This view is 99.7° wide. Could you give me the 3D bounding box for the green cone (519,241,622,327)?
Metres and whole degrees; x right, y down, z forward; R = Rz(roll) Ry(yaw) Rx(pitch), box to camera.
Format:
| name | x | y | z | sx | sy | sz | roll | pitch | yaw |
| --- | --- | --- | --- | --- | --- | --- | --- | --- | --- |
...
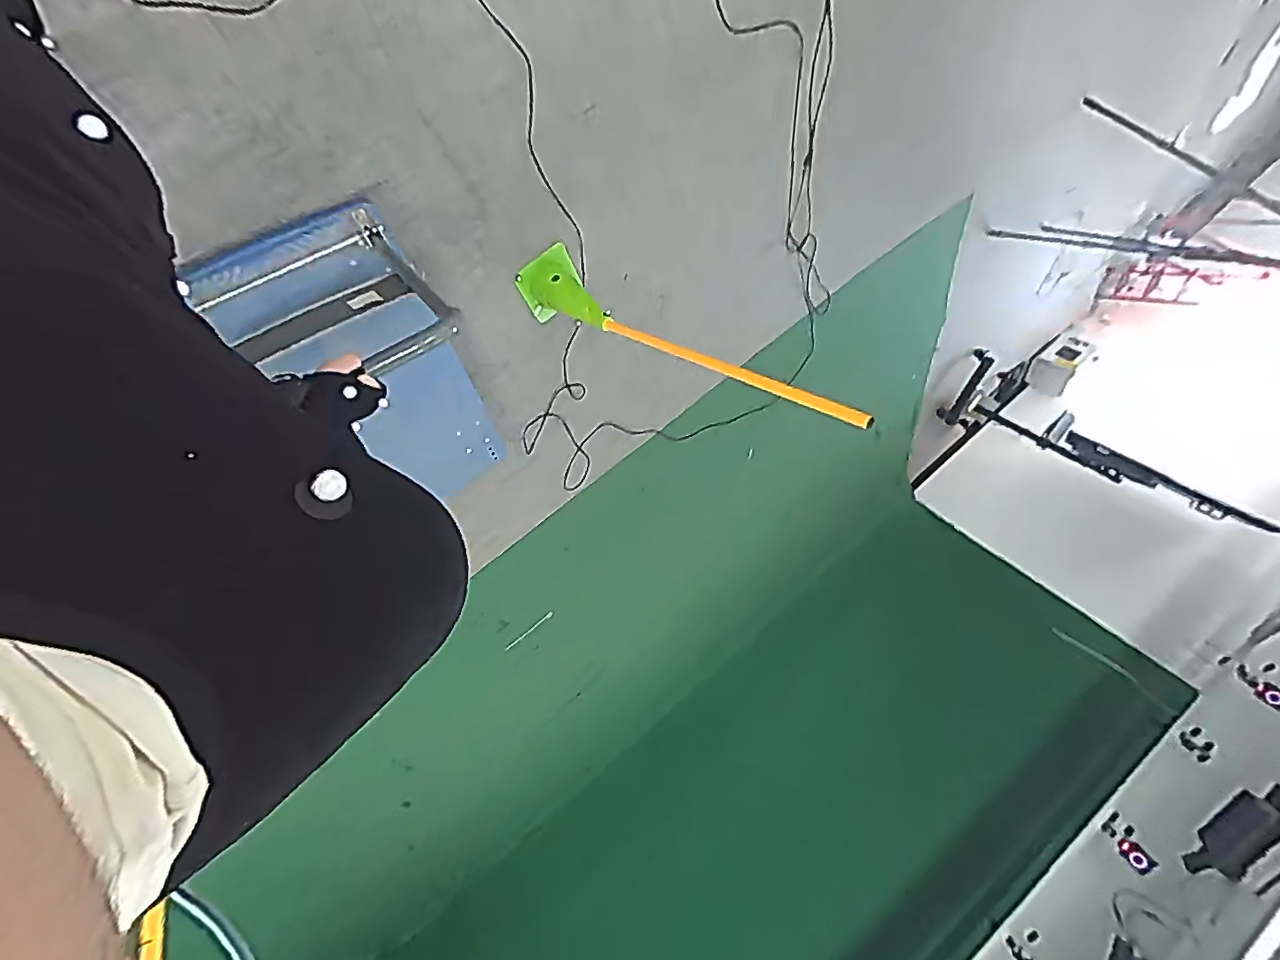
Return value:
| name | x | y | z | sx | sy | sz | roll | pitch | yaw |
| --- | --- | --- | --- | --- | --- | --- | --- | --- | --- |
| green cone | -0.178 | -0.551 | 1.667 | 0.202 | 0.368 | 0.200 | -42 | 144 | -7 |
